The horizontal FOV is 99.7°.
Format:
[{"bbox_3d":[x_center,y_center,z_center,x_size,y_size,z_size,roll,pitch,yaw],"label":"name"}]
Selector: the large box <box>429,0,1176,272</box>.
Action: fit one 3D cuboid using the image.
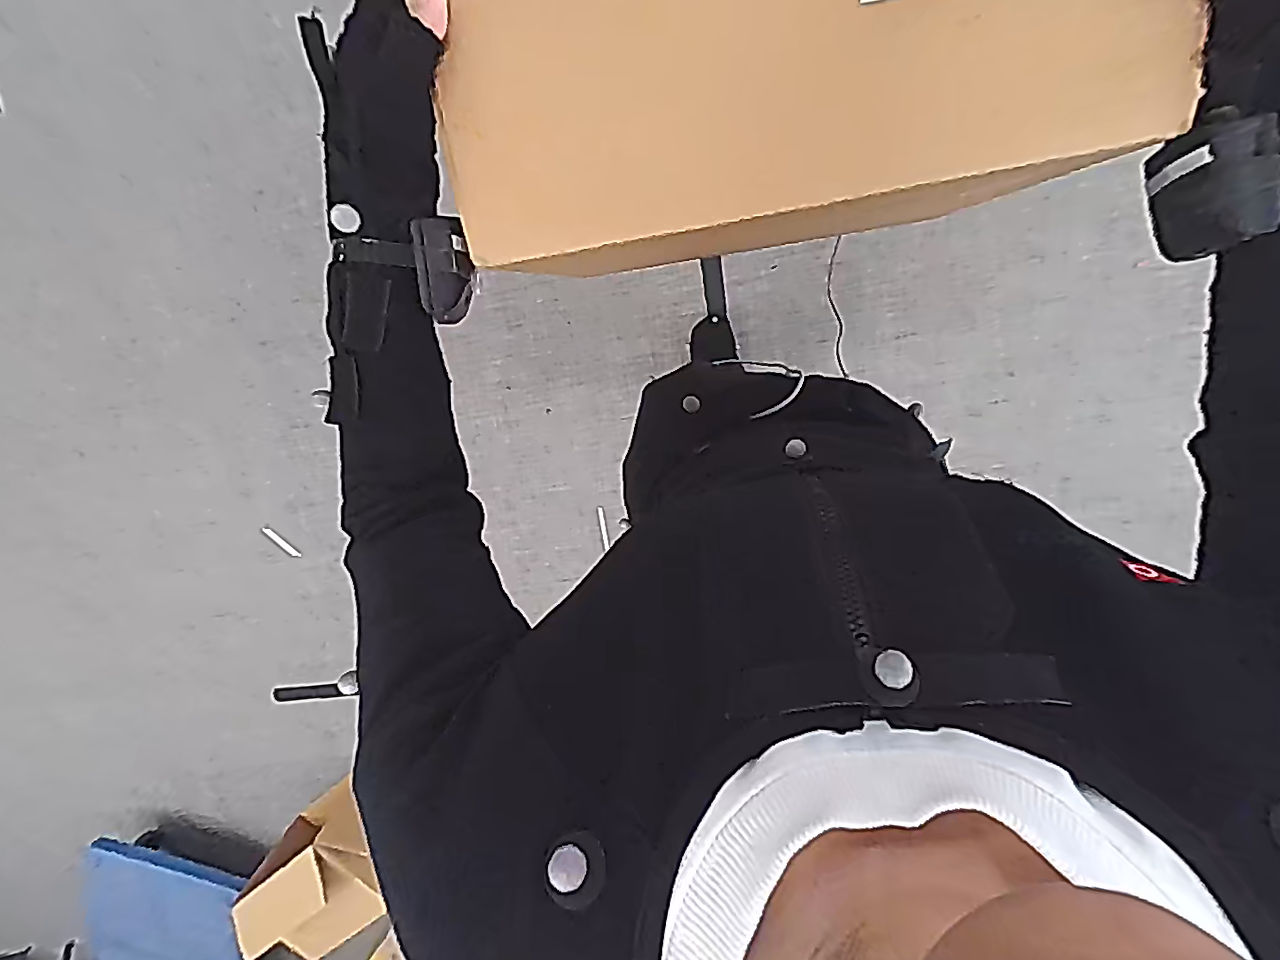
[{"bbox_3d":[0.082,-0.366,0.422,0.408,0.320,0.320,-7,109,9],"label":"large box"}]
